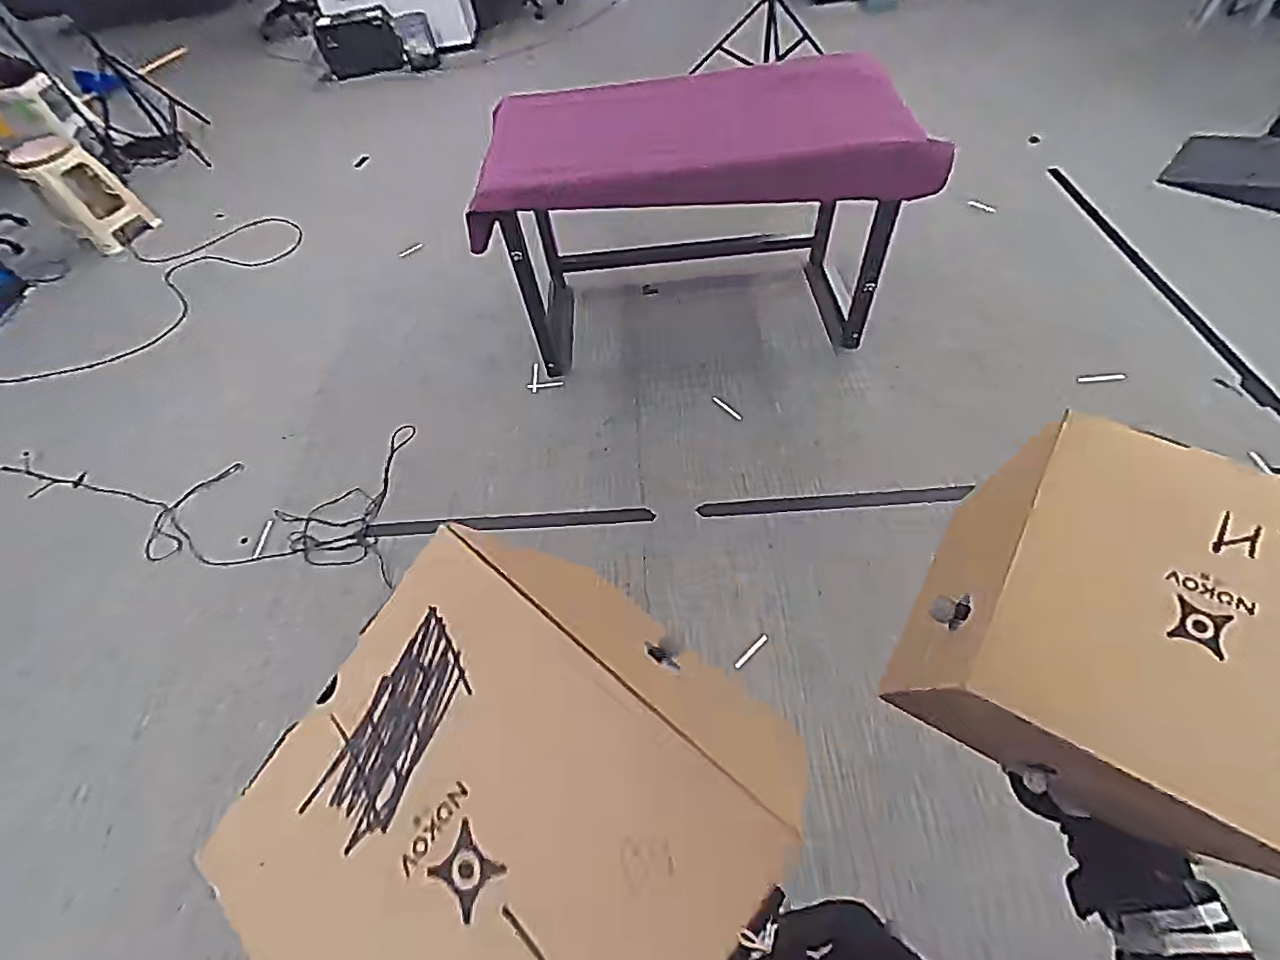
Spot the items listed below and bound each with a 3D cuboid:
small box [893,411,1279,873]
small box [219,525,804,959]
[{"bbox_3d":[0.279,0.096,0.330,0.168,0.176,0.179,27,73,18],"label":"small box"},{"bbox_3d":[-0.039,0.150,0.268,0.179,0.176,0.168,33,85,23],"label":"small box"}]
